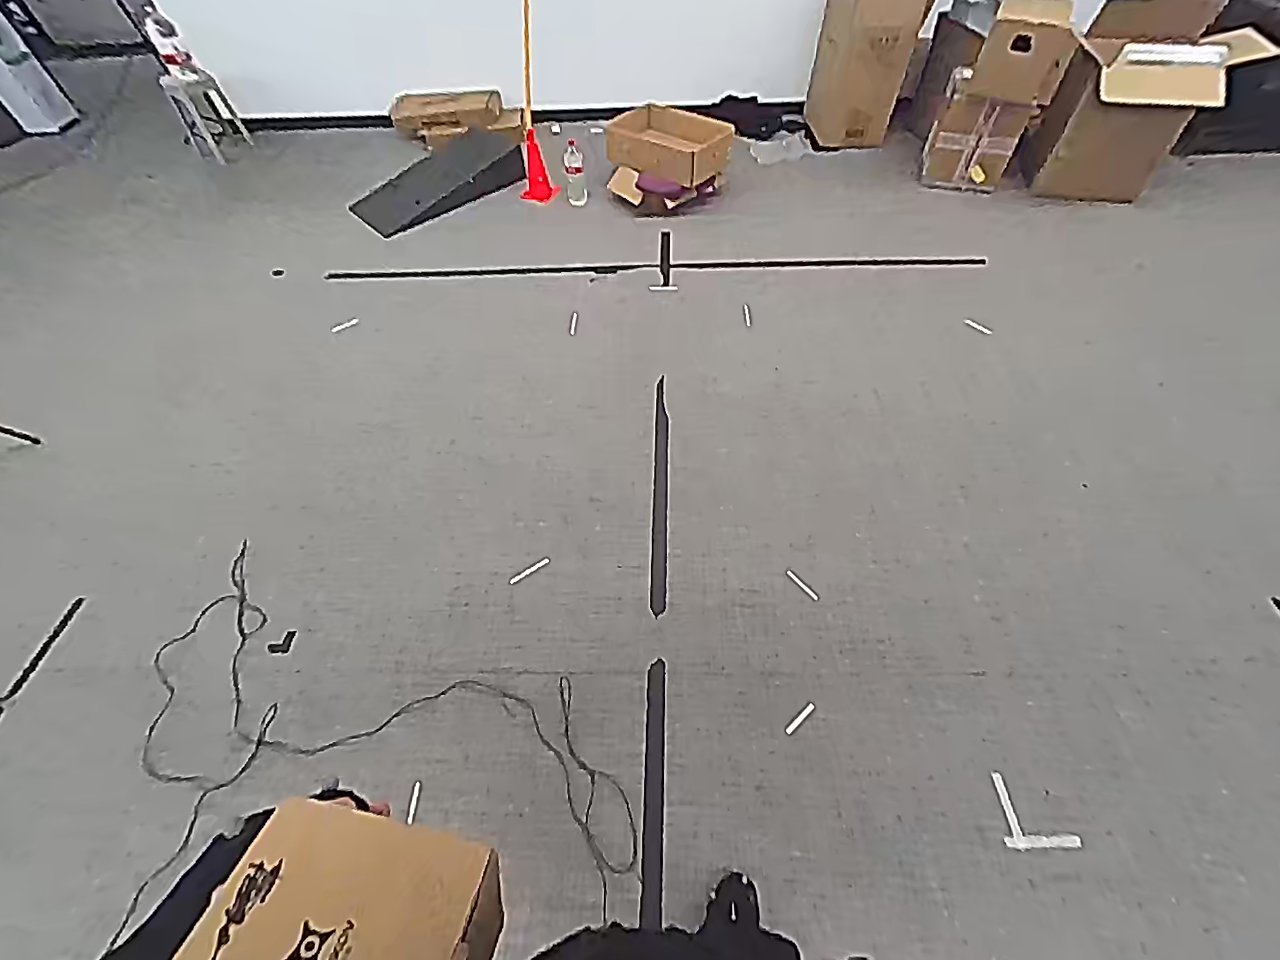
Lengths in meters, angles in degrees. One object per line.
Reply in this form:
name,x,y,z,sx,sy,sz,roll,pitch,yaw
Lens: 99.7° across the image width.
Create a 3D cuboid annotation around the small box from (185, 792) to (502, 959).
small box,-0.215,0.377,0.409,0.179,0.176,0.168,11,35,4
